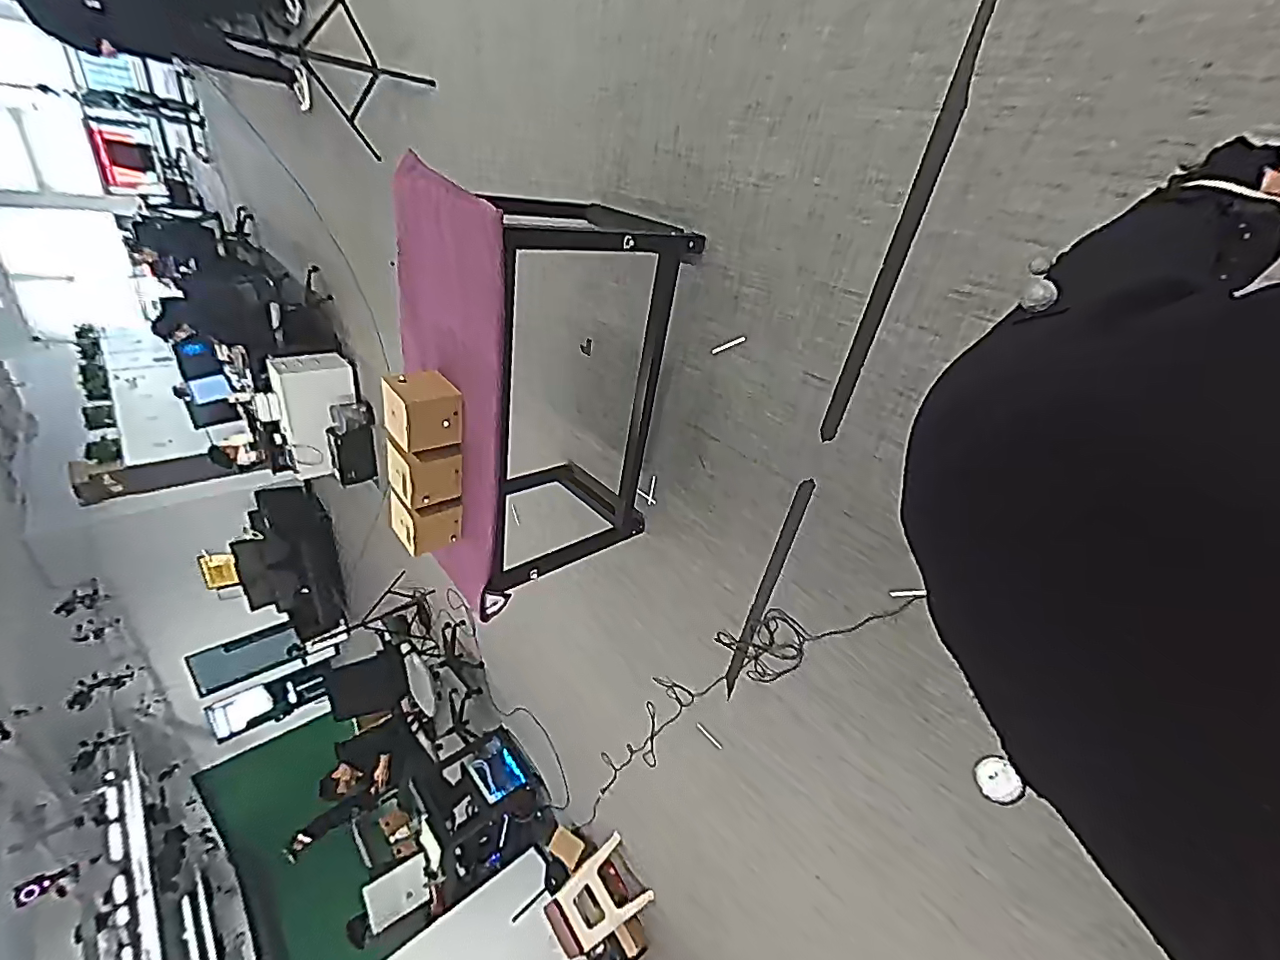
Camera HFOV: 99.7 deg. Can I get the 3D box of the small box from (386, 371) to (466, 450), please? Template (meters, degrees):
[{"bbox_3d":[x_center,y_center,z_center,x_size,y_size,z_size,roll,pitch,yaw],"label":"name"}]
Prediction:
[{"bbox_3d":[-0.636,-0.214,1.611,0.179,0.176,0.168,39,132,34],"label":"small box"}]
